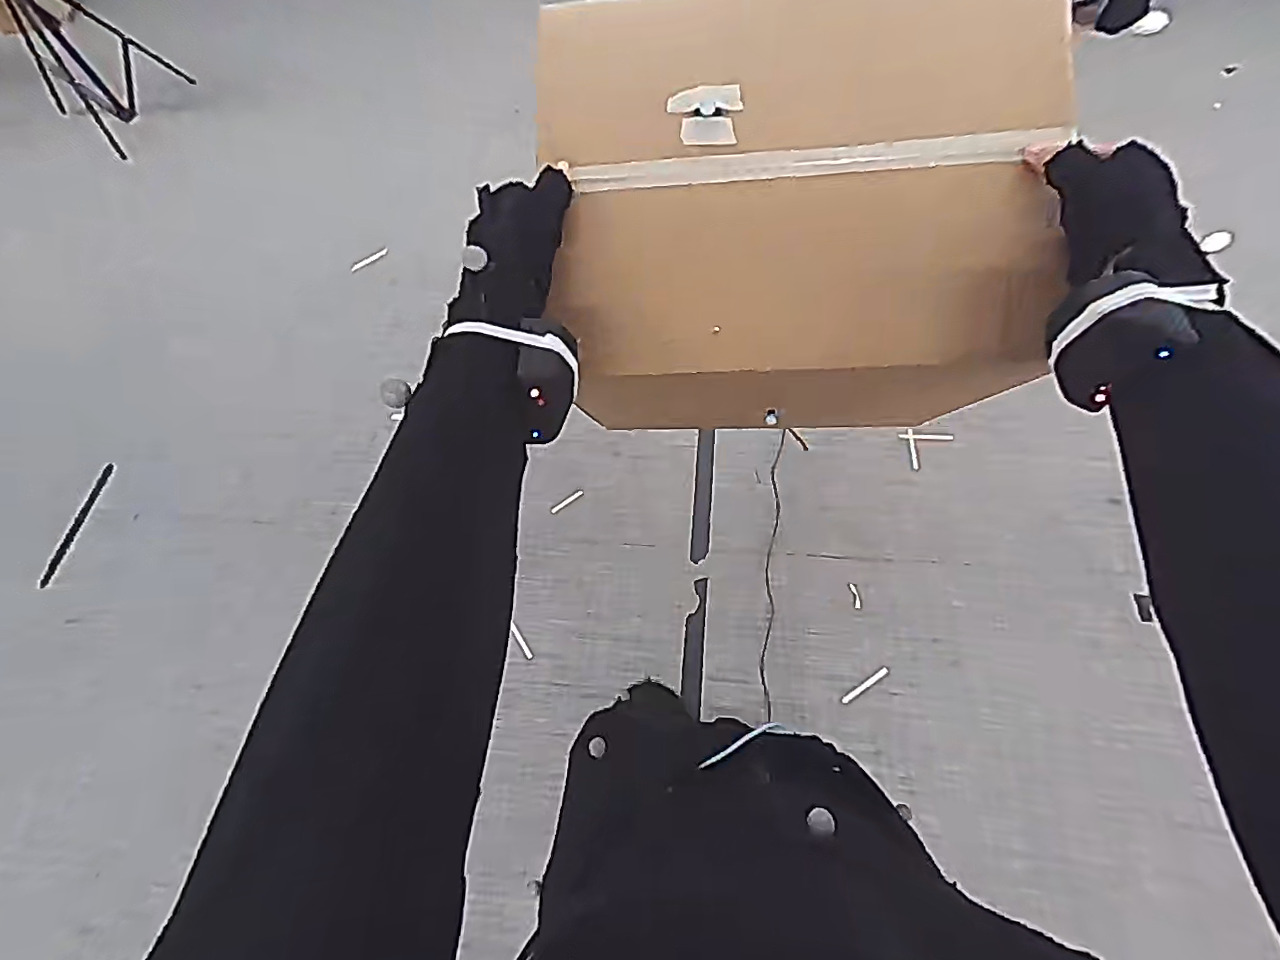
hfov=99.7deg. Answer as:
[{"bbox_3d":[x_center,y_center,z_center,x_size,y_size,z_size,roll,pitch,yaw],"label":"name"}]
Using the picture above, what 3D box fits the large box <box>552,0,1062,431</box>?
[{"bbox_3d":[0.143,-0.228,0.588,0.408,0.320,0.320,-1,86,8],"label":"large box"}]
